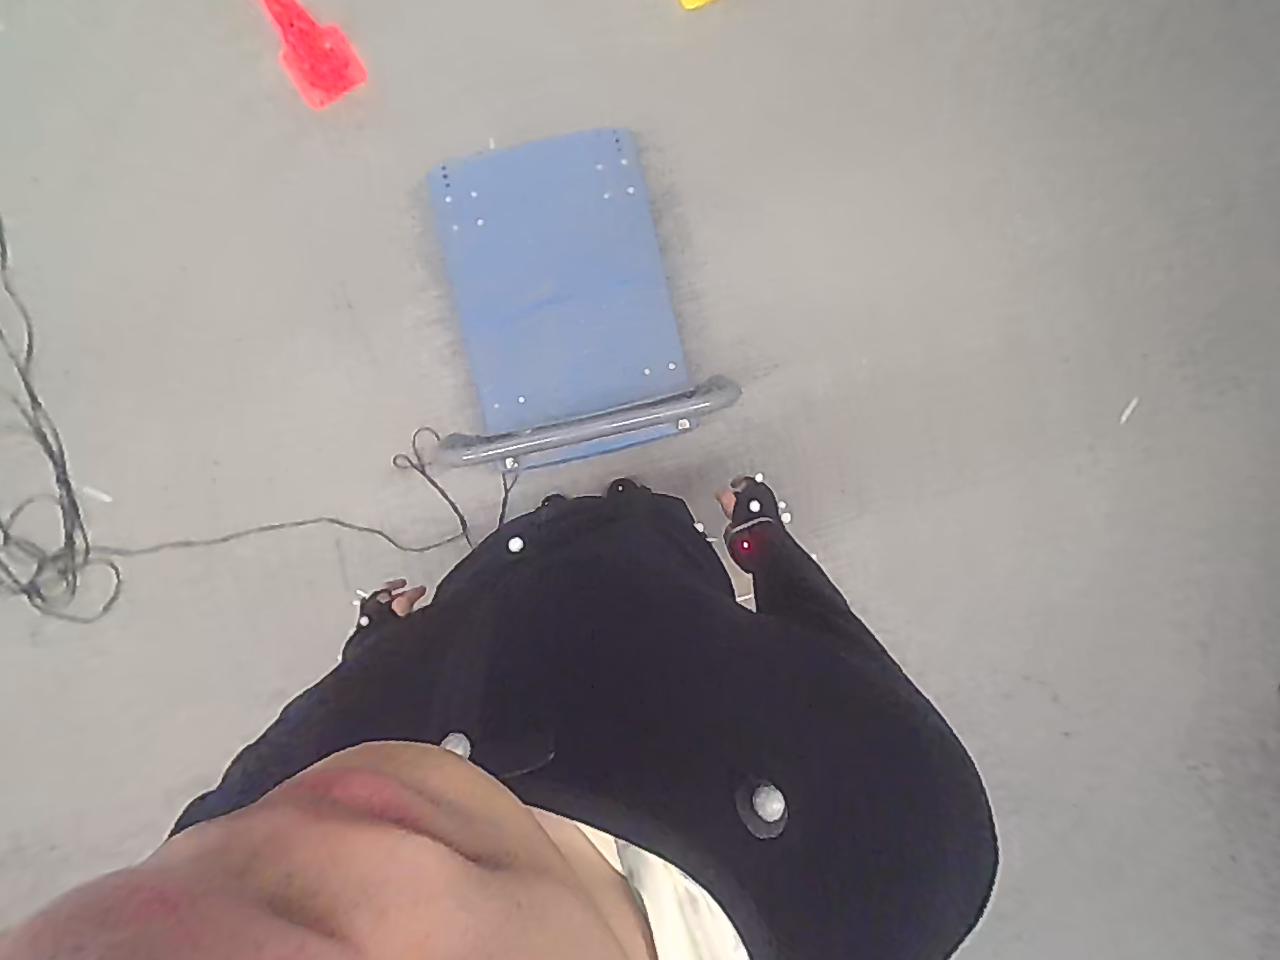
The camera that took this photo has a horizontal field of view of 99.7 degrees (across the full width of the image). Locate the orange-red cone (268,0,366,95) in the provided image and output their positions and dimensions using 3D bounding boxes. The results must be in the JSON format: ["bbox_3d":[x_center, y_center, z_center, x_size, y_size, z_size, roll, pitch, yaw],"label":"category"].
[{"bbox_3d":[-0.940,-1.273,1.447,0.199,0.360,0.198,-30,90,0],"label":"orange-red cone"}]
